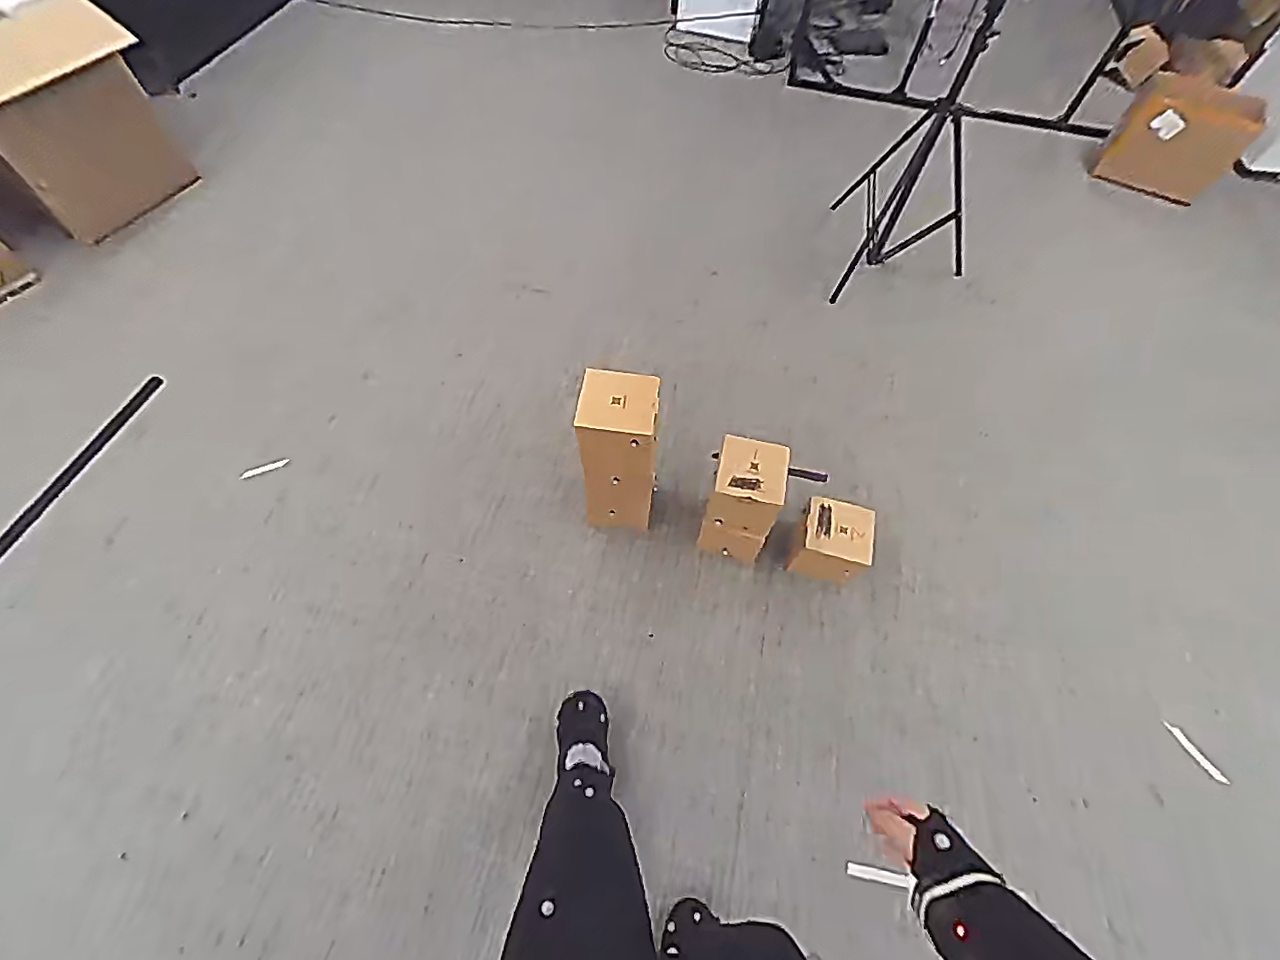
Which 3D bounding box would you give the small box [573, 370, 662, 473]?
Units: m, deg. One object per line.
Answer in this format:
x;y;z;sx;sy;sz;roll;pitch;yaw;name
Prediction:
-0.049;-0.131;1.259;0.179;0.176;0.168;7;61;2;small box

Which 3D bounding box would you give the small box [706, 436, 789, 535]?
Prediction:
0.269;0.019;1.372;0.168;0.176;0.179;13;59;5;small box

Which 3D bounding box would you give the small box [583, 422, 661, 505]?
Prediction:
-0.046;-0.048;1.399;0.179;0.176;0.168;8;61;1;small box

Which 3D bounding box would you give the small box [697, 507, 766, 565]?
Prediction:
0.263;0.111;1.509;0.168;0.176;0.179;15;61;7;small box

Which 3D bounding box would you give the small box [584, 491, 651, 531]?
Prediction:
-0.055;0.033;1.540;0.179;0.176;0.168;6;60;2;small box
